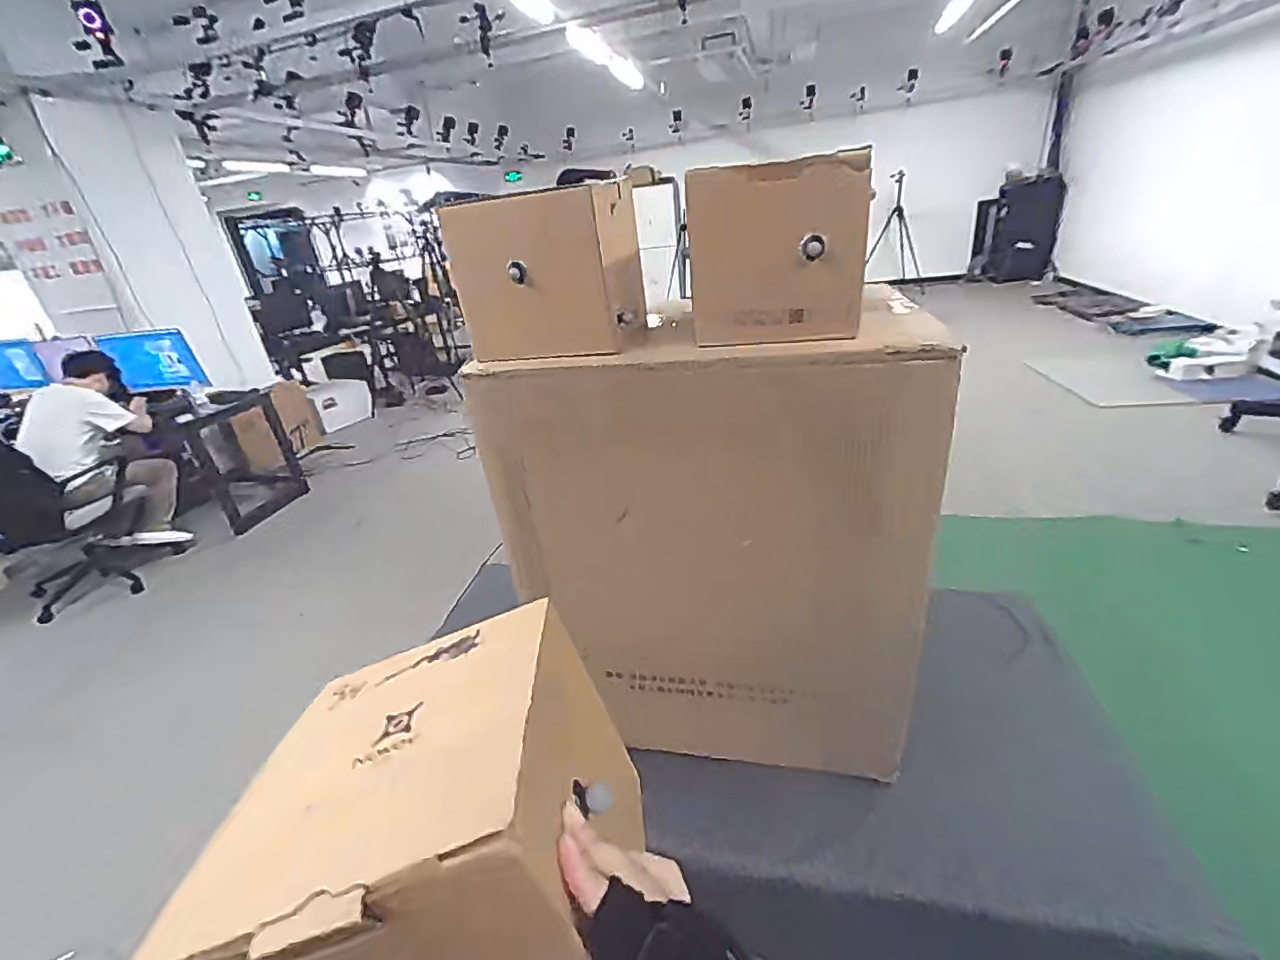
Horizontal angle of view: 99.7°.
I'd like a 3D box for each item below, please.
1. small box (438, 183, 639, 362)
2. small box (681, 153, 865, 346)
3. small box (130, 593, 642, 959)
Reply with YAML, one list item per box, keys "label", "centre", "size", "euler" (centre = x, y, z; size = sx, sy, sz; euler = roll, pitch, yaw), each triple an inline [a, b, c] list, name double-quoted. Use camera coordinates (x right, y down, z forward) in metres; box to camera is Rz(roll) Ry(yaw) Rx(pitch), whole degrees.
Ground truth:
- label: "small box"
  centre: [-0.102, -0.246, 0.642]
  size: [0.179, 0.176, 0.168]
  euler: [0, 30, 11]
- label: "small box"
  centre: [0.144, -0.247, 0.590]
  size: [0.168, 0.176, 0.179]
  euler: [2, 29, 14]
- label: "small box"
  centre: [-0.105, 0.203, 0.313]
  size: [0.168, 0.176, 0.179]
  euler: [-21, 19, 2]
